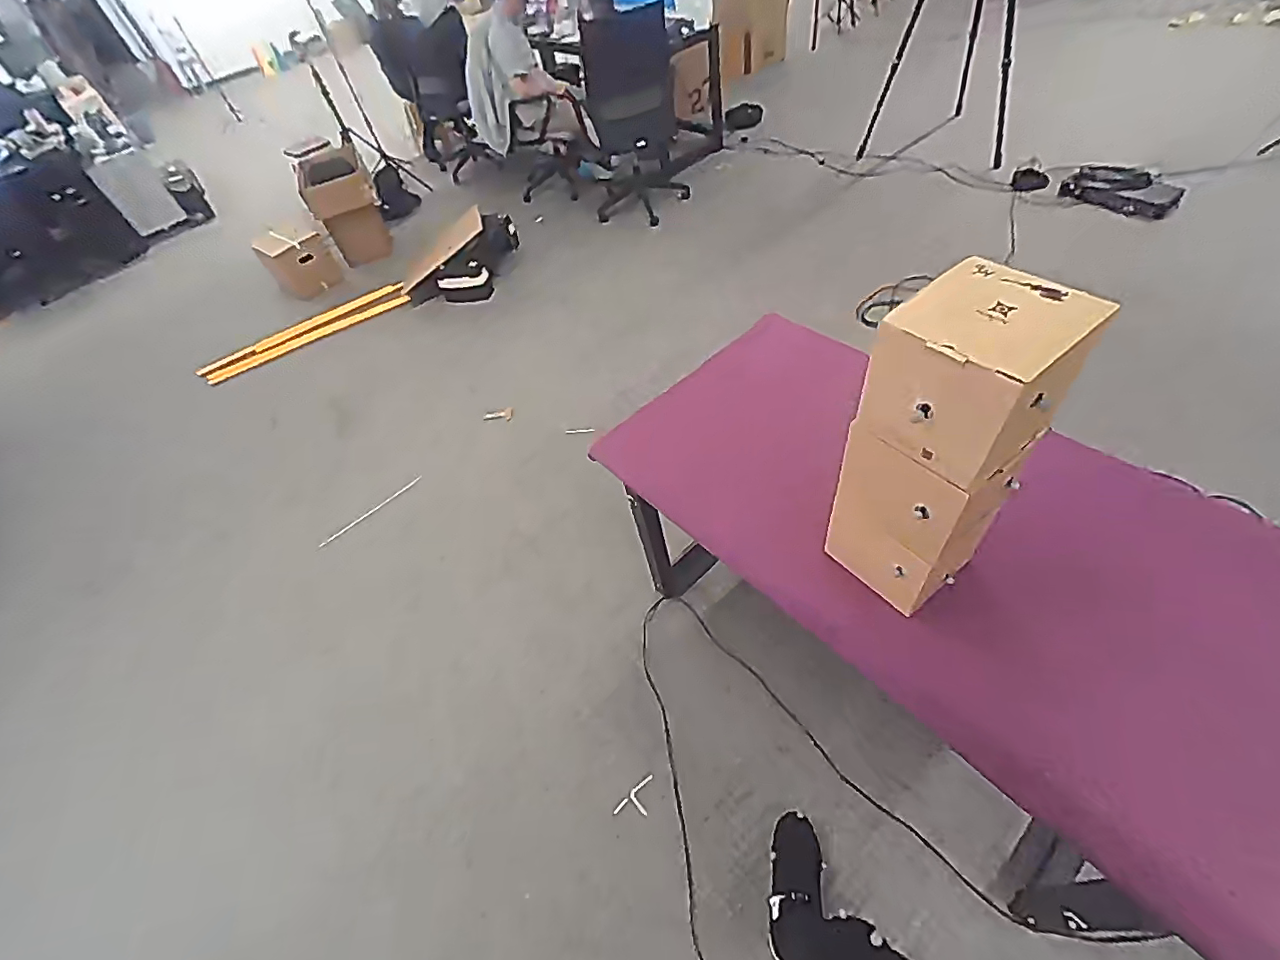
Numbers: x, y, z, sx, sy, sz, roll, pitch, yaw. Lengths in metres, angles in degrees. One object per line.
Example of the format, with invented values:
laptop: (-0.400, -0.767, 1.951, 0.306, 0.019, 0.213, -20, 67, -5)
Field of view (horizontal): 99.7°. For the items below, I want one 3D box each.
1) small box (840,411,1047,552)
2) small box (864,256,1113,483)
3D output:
small box: (0.411, -0.022, 0.765, 0.168, 0.176, 0.179, -34, 52, -16)
small box: (0.391, -0.129, 0.643, 0.179, 0.176, 0.168, -35, 53, -16)
